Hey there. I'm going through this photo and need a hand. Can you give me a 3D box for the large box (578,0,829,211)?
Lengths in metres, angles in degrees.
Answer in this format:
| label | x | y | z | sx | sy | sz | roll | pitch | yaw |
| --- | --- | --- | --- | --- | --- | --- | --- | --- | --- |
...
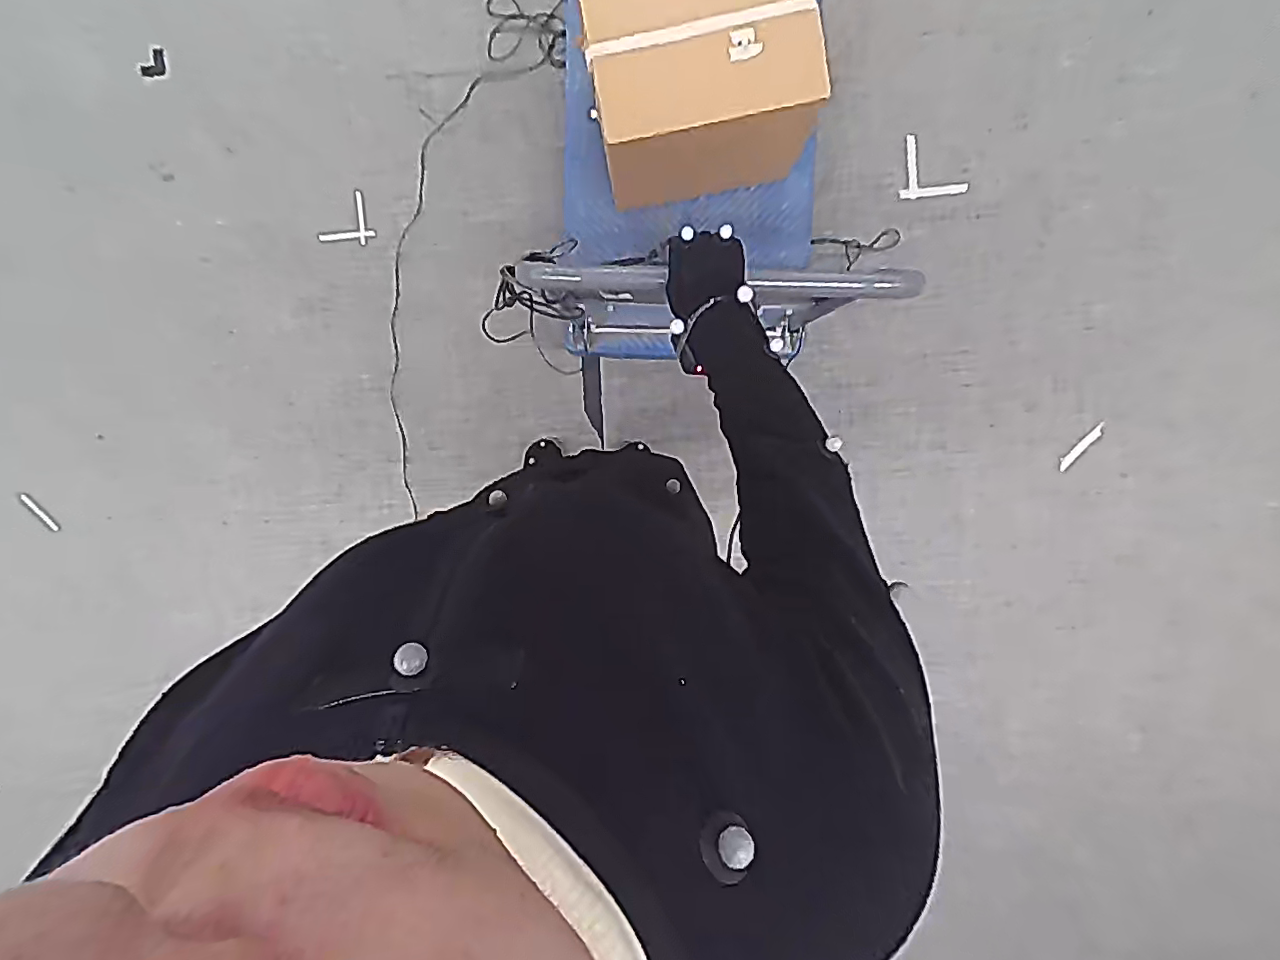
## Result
| label | x | y | z | sx | sy | sz | roll | pitch | yaw |
| --- | --- | --- | --- | --- | --- | --- | --- | --- | --- |
| large box | 0.111 | -0.795 | 1.092 | 0.408 | 0.320 | 0.320 | -10 | 95 | 1 |
